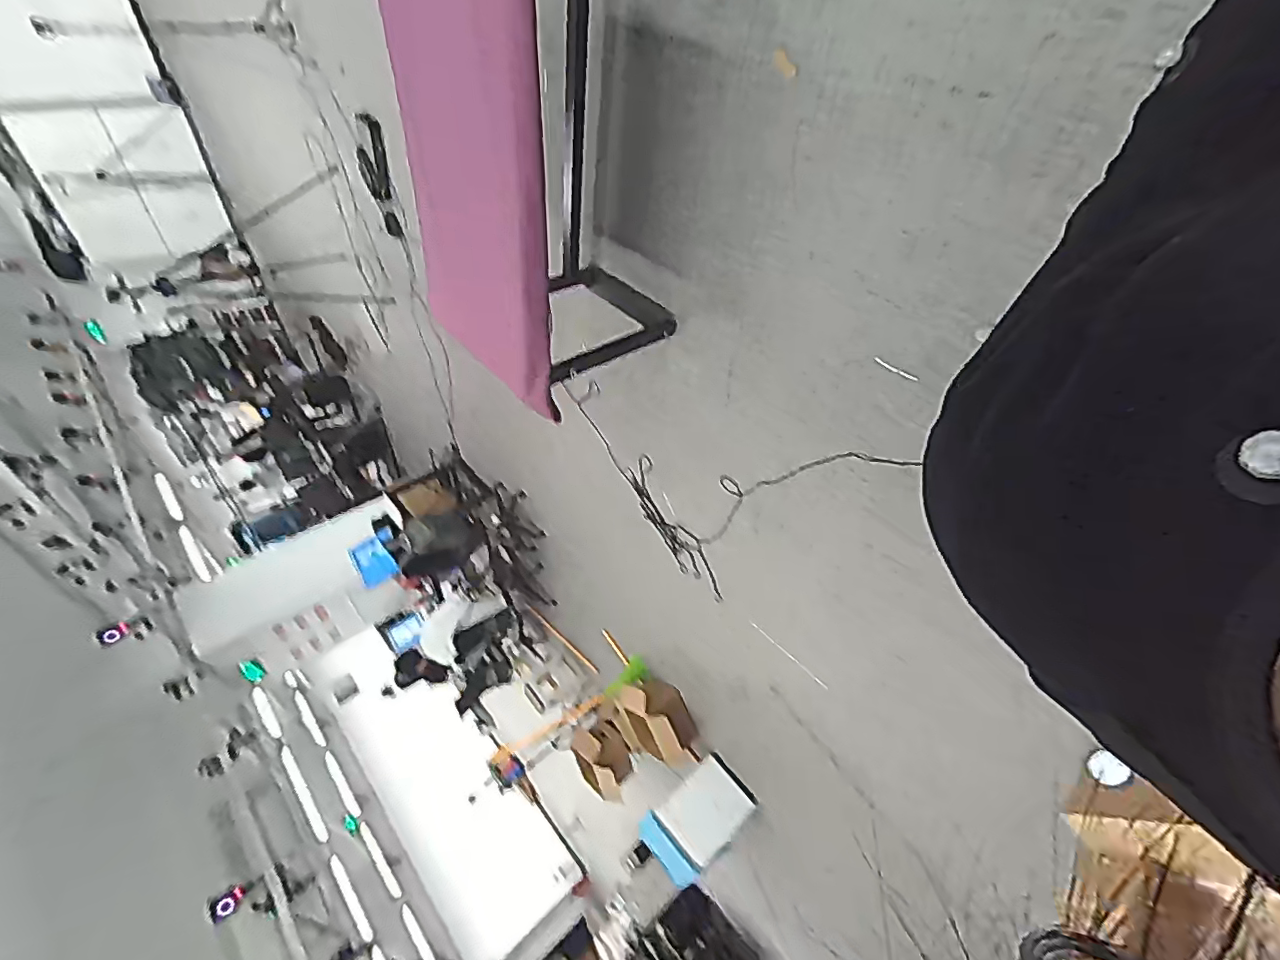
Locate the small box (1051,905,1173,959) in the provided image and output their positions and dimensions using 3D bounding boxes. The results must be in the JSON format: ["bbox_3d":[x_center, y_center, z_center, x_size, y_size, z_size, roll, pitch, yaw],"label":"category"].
[{"bbox_3d":[1.094,1.123,1.222,0.179,0.176,0.168,52,148,13],"label":"small box"}]
